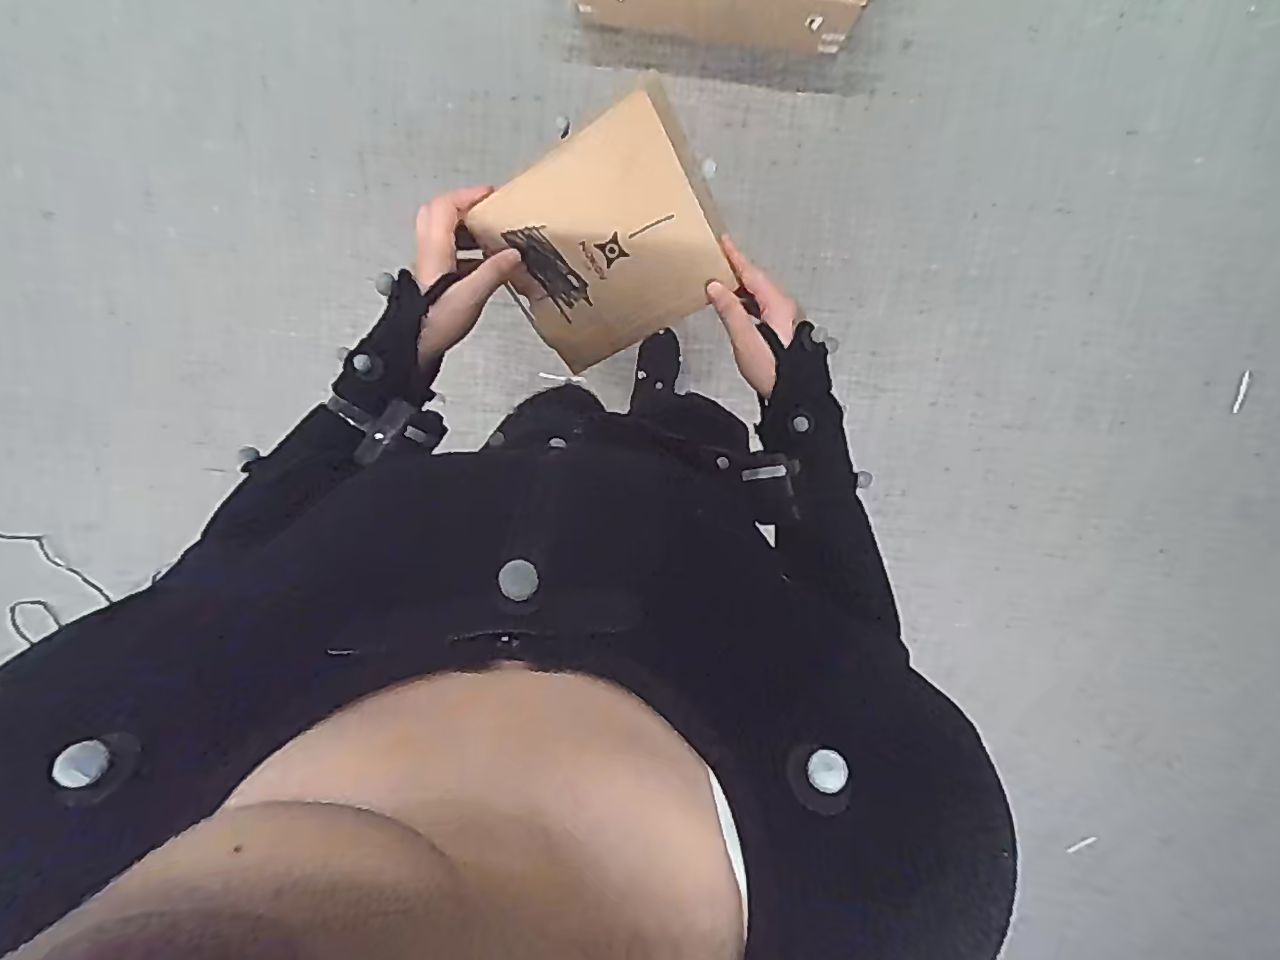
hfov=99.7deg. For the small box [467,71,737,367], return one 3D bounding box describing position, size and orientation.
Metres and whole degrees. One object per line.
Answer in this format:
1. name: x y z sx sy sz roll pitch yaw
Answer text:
1. small box: -0.024 -0.244 0.510 0.179 0.176 0.168 -22 127 22
